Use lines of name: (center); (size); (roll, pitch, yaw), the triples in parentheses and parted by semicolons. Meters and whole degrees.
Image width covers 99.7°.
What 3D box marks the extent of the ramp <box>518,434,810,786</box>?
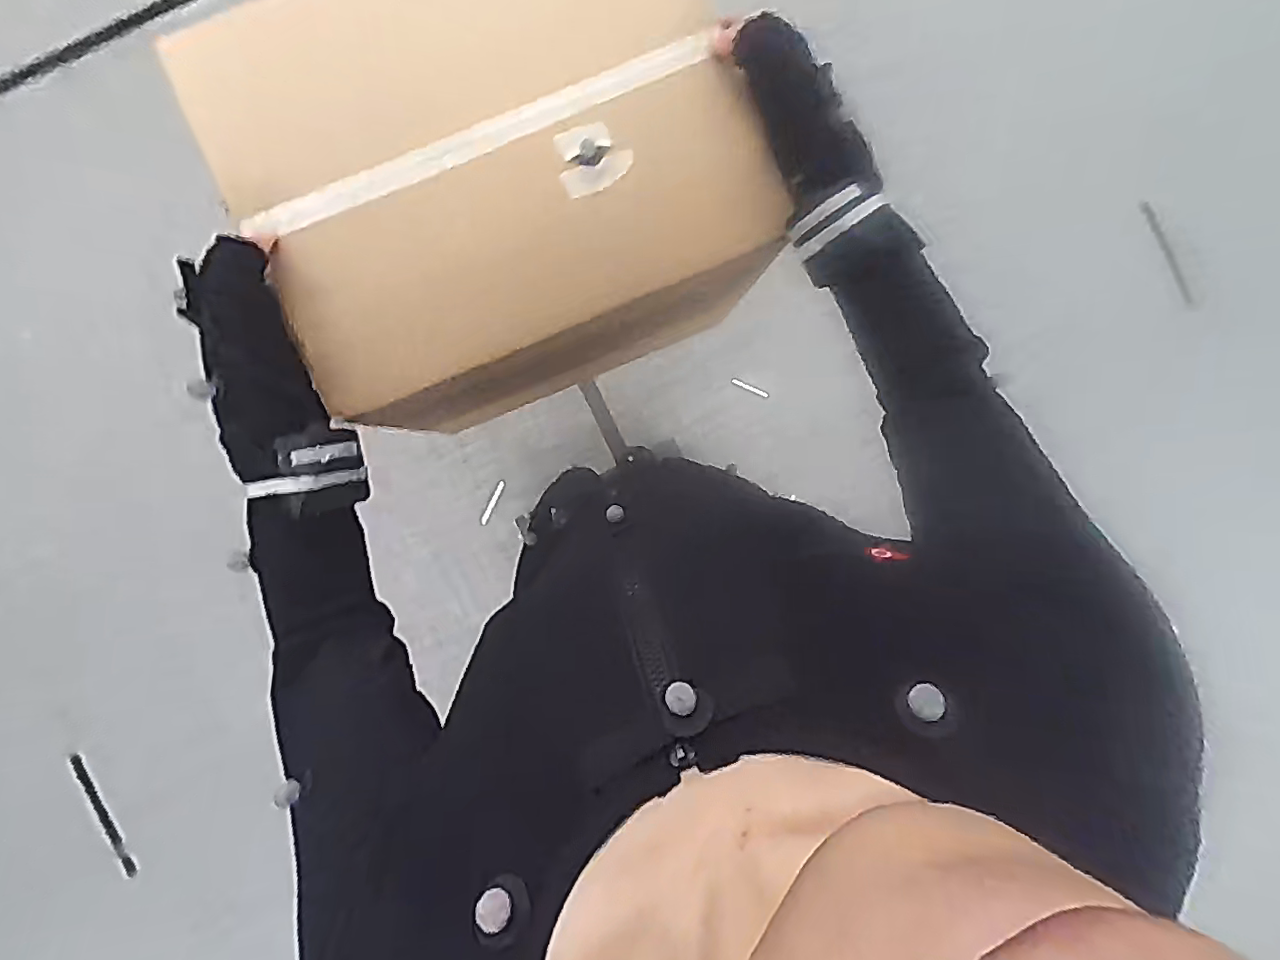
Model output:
ramp: (0.103, 0.408, 1.584); (0.509, 0.206, 0.991); (-29, 92, -3)

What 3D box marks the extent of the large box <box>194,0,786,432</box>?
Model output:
large box: (-0.124, -0.276, 0.587); (0.408, 0.320, 0.320); (-23, 94, -2)
